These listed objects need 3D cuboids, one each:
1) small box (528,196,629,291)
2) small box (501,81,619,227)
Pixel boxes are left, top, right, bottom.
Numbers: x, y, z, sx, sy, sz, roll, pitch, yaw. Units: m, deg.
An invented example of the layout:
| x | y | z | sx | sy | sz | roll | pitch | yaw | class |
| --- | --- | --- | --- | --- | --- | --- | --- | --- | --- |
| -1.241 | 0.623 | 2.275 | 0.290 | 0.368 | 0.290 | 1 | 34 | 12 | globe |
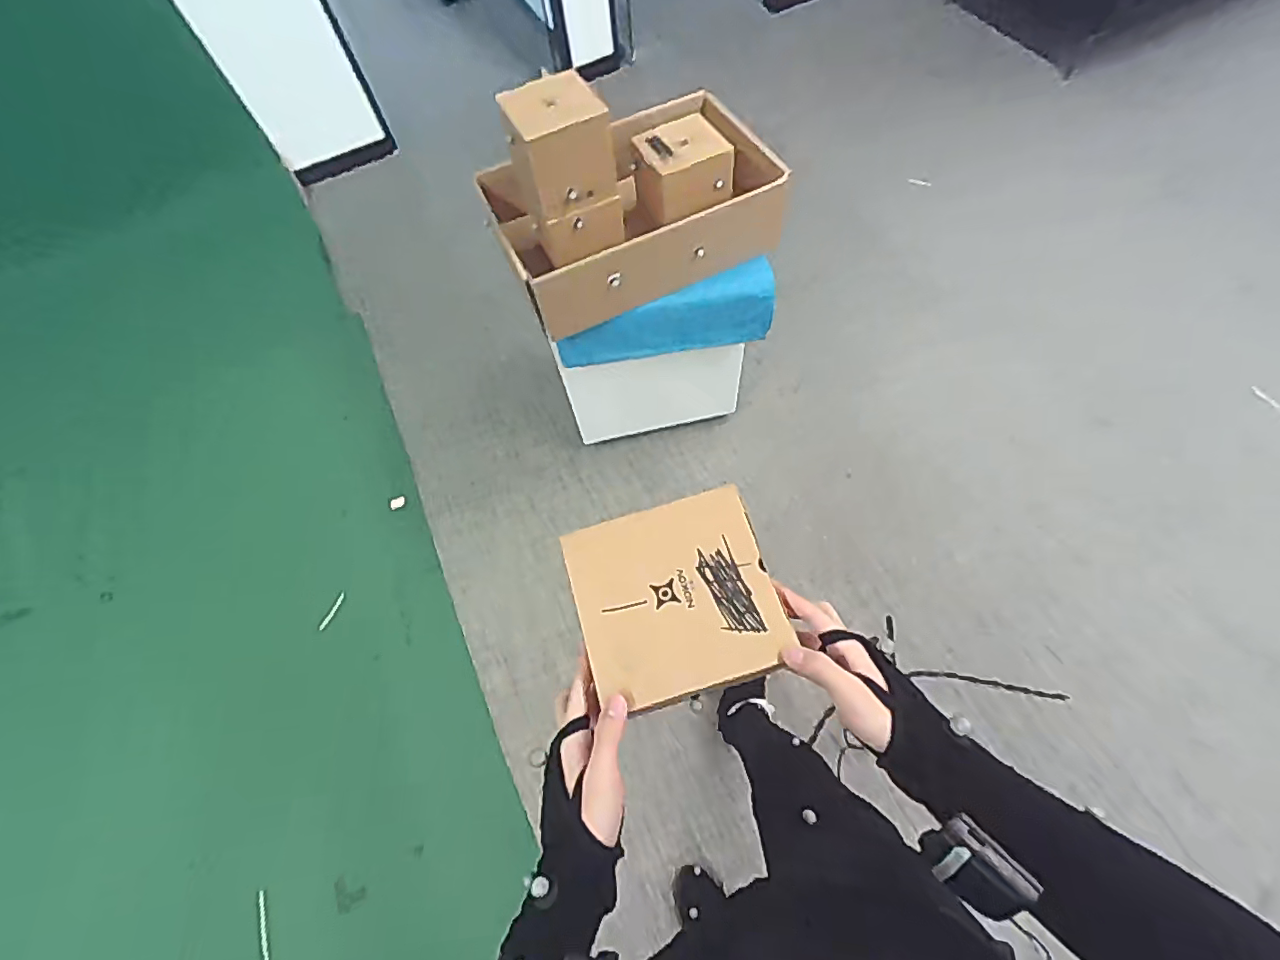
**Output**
| x | y | z | sx | sy | sz | roll | pitch | yaw | class |
| --- | --- | --- | --- | --- | --- | --- | --- | --- | --- |
| -0.137 | -0.564 | 1.221 | 0.168 | 0.176 | 0.179 | -25 | 61 | -7 | small box |
| -0.155 | -0.646 | 1.081 | 0.168 | 0.176 | 0.179 | -25 | 62 | -8 | small box |
